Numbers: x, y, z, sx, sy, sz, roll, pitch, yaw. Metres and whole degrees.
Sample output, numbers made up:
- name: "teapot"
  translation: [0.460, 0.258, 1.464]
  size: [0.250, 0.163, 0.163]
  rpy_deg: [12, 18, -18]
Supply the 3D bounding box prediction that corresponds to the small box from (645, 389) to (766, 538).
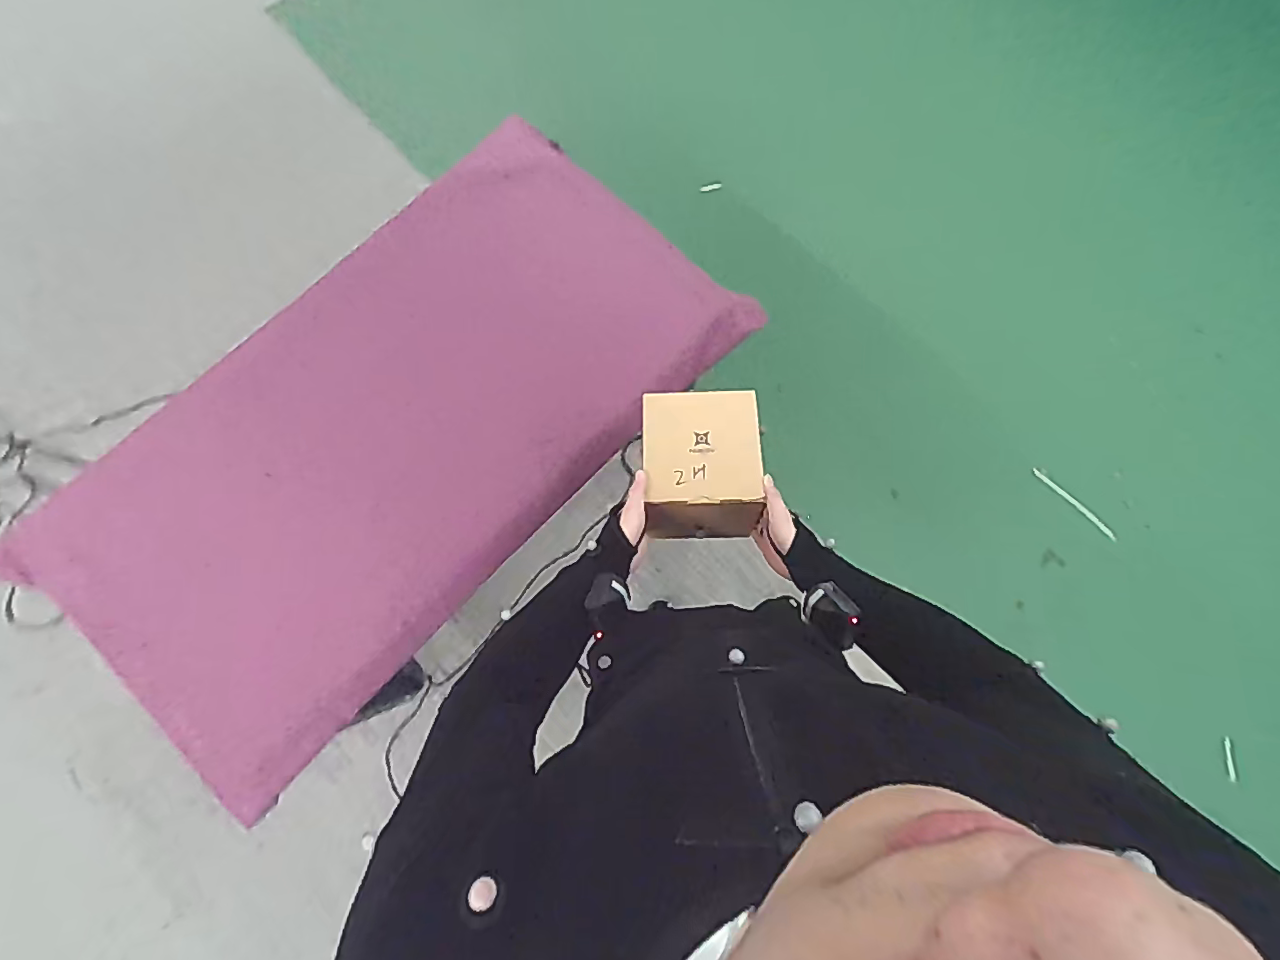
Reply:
- name: "small box"
  translation: [0.093, -0.021, 0.828]
  size: [0.168, 0.176, 0.179]
  rpy_deg: [-1, 67, 4]
